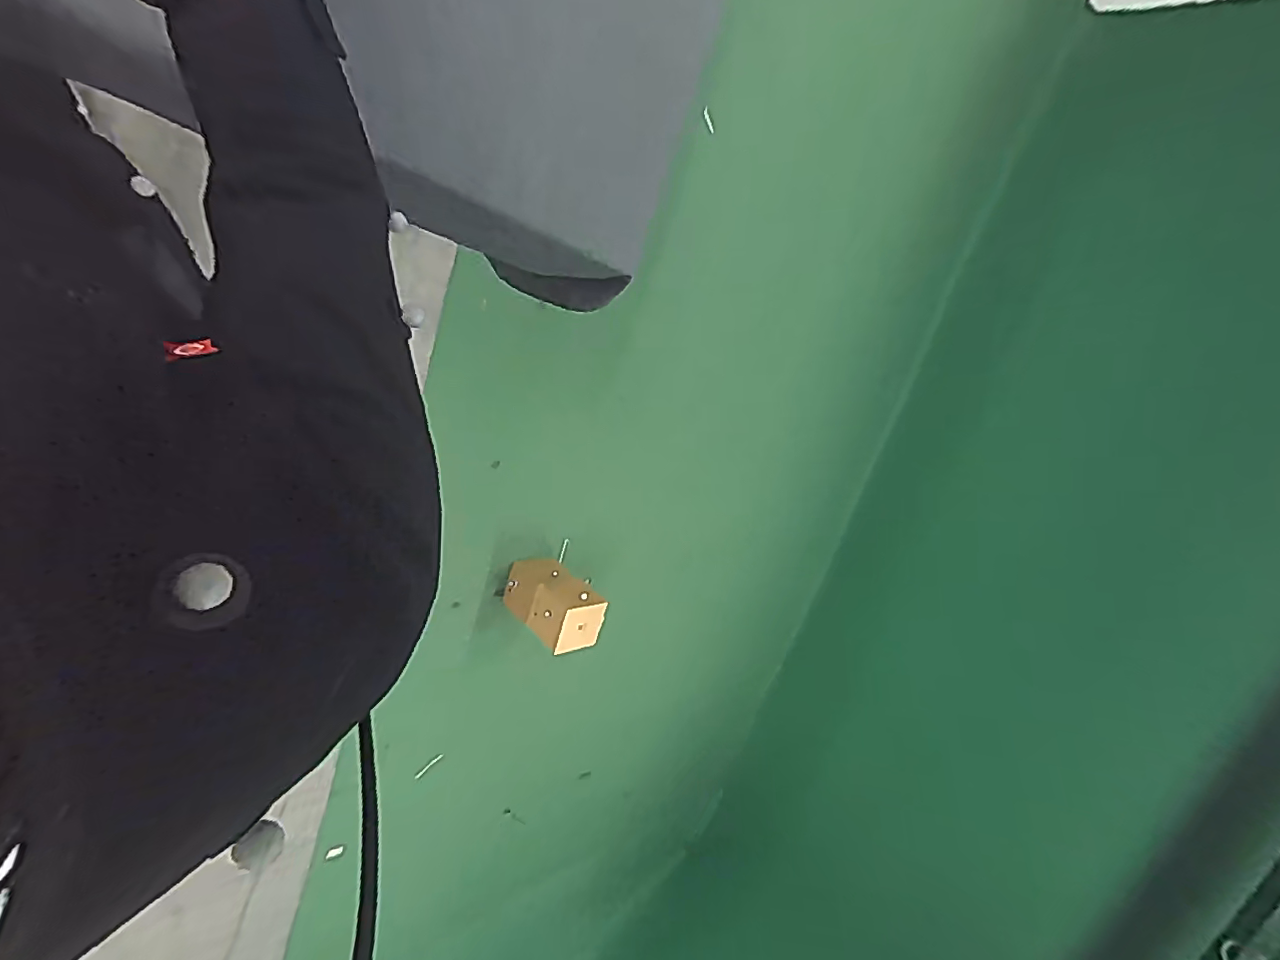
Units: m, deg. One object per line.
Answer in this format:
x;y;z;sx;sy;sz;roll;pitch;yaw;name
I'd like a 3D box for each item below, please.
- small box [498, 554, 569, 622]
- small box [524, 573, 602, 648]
-0.368;0.371;1.897;0.179;0.176;0.168;3;110;-47;small box
-0.259;0.426;1.788;0.179;0.176;0.168;1;112;-48;small box
